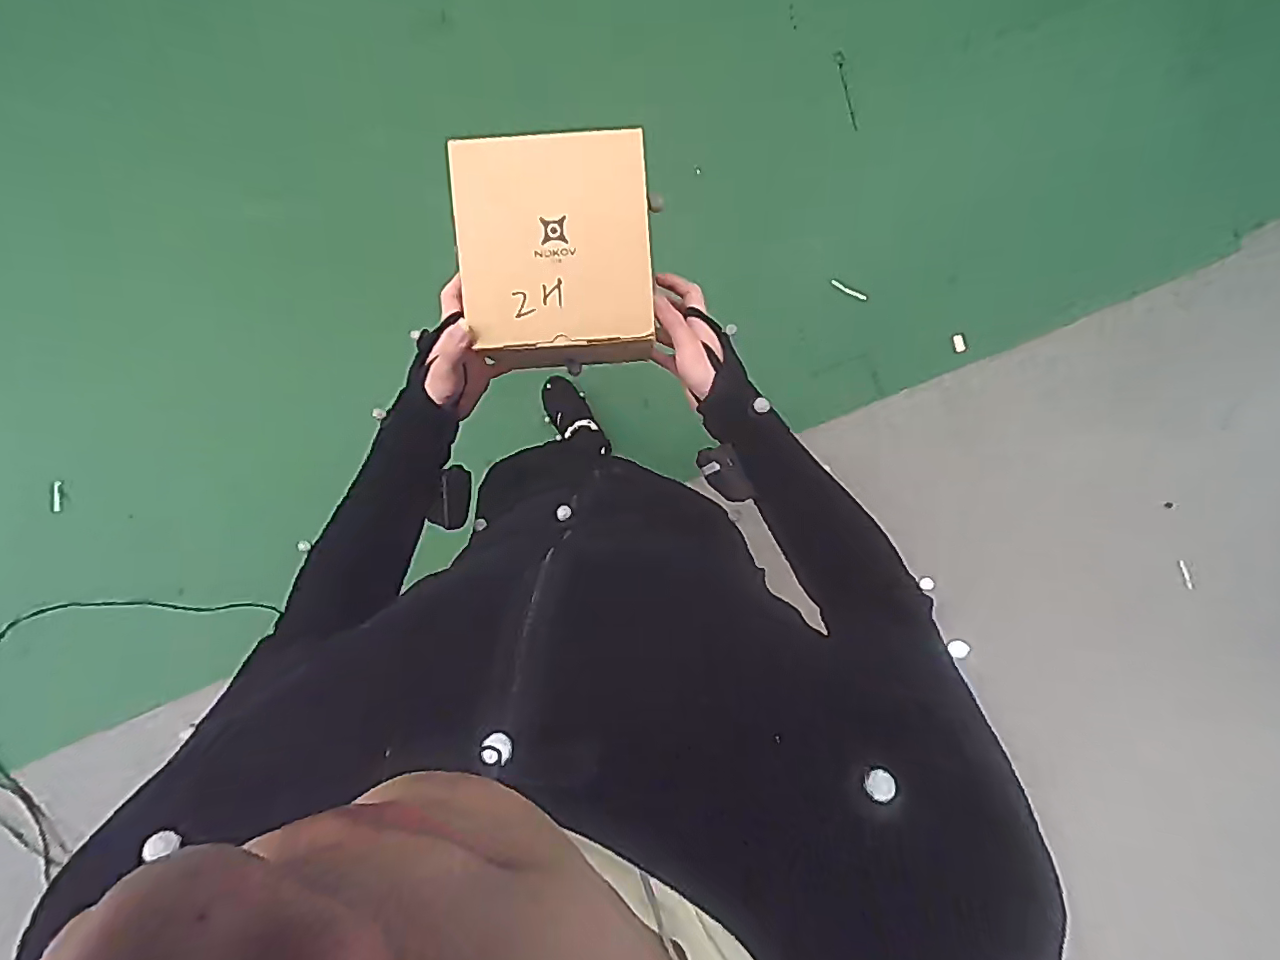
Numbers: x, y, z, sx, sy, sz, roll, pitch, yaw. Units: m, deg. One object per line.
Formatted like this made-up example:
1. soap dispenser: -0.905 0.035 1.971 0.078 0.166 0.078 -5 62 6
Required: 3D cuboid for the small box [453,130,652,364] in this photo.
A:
1. small box: -0.077 -0.218 0.549 0.168 0.176 0.179 -3 97 0
